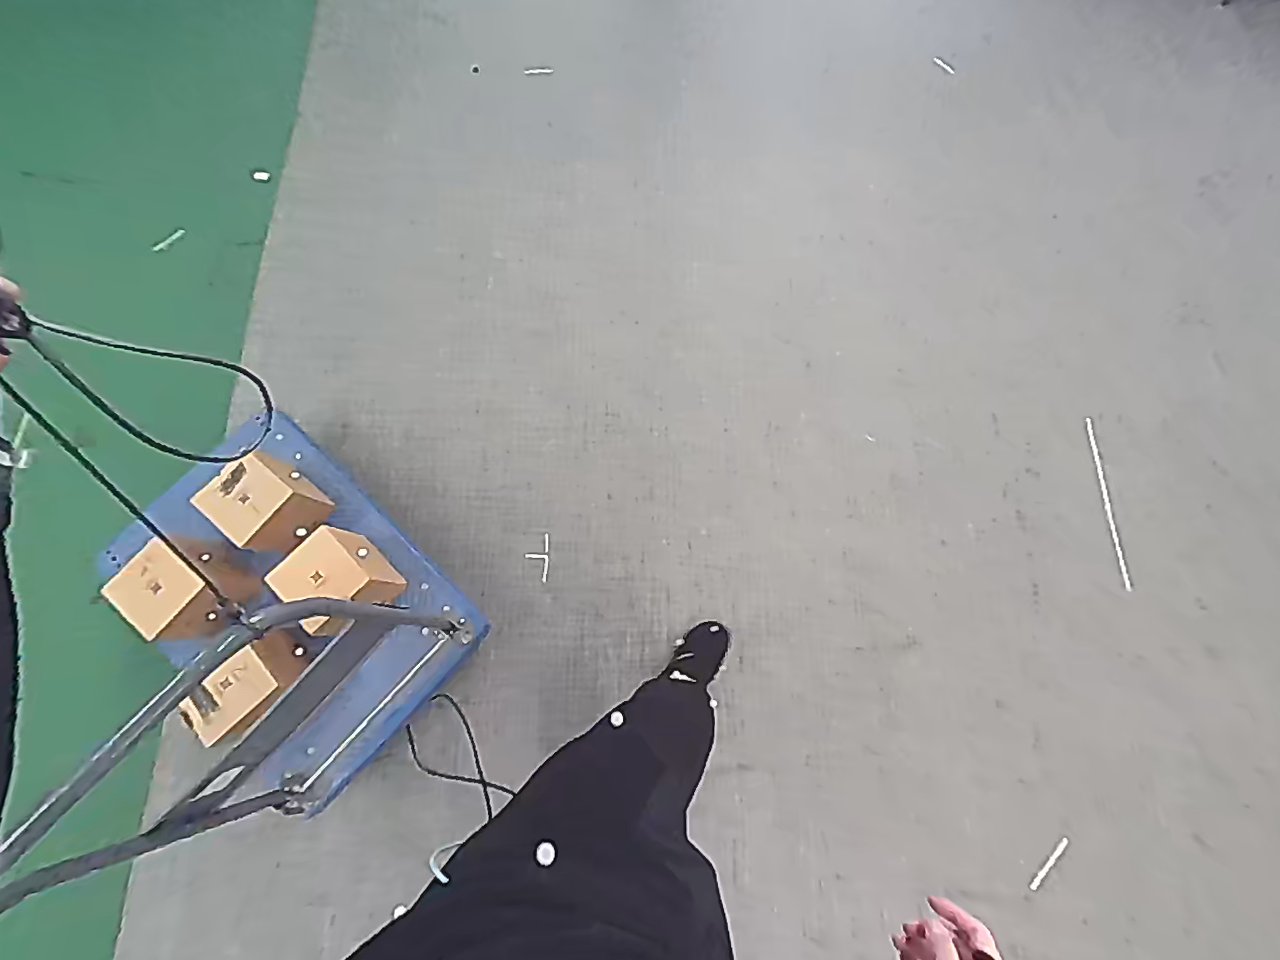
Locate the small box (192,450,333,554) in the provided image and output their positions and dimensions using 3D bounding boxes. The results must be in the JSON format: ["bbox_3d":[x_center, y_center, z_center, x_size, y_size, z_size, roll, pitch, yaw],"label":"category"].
[{"bbox_3d":[-0.887,0.061,1.285,0.179,0.176,0.168,37,80,10],"label":"small box"}]

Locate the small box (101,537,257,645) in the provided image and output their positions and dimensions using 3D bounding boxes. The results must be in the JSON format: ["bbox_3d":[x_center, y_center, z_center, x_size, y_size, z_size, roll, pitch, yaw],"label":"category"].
[{"bbox_3d":[-1.041,0.255,1.239,0.179,0.176,0.168,37,78,11],"label":"small box"}]

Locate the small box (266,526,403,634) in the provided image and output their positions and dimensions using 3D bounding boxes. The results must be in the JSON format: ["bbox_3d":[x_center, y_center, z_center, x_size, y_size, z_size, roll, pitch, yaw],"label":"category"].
[{"bbox_3d":[-0.685,0.234,1.232,0.179,0.176,0.168,42,80,11],"label":"small box"}]
